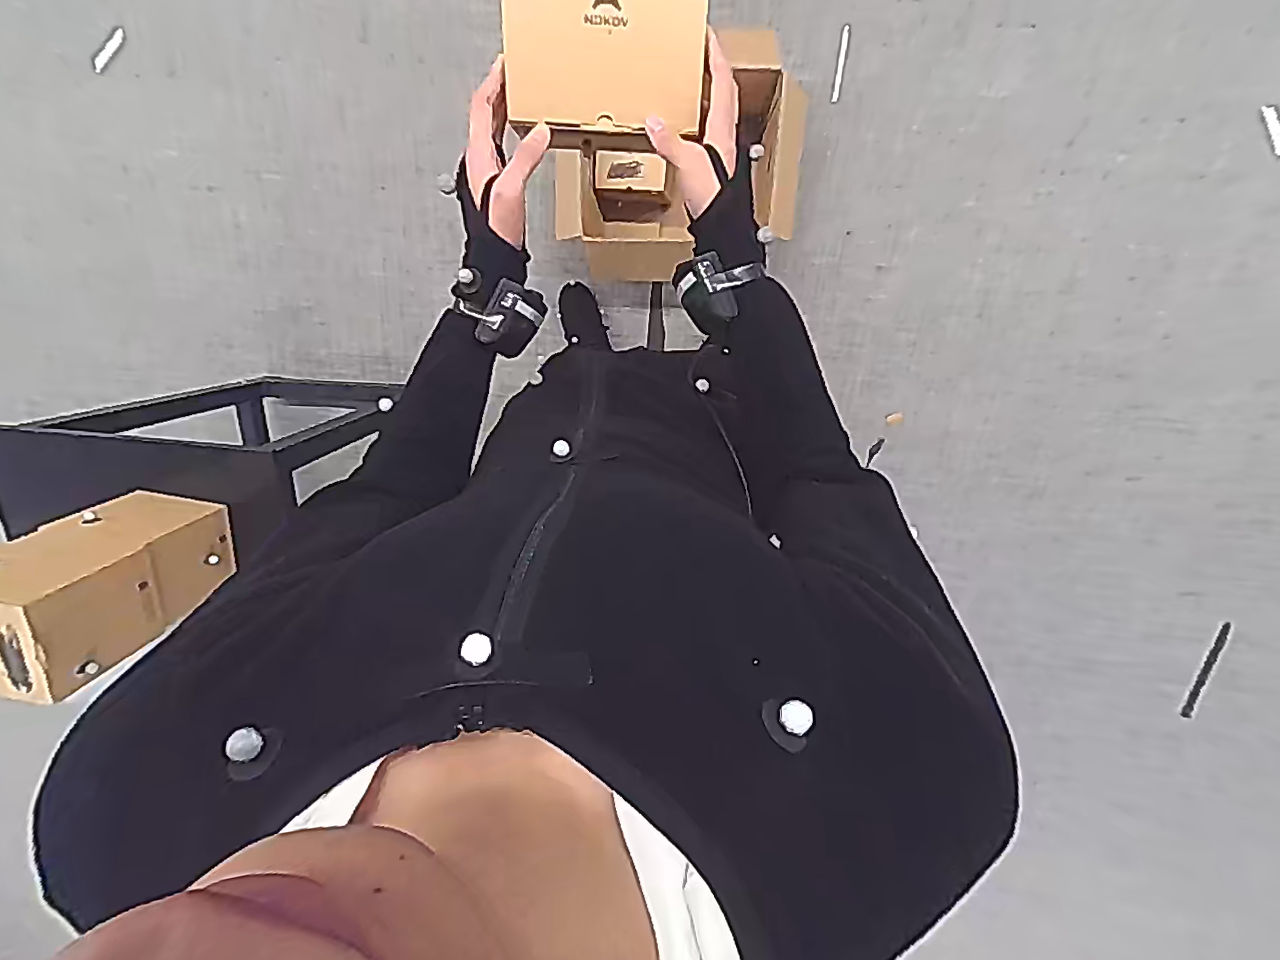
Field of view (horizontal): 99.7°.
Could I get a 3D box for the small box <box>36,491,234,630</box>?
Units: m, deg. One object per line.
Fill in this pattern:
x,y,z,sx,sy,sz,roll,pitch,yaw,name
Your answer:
-0.862,0.130,0.942,0.179,0.176,0.168,10,111,2,small box

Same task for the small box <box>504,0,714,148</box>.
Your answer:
-0.033,-0.412,0.484,0.168,0.176,0.179,-1,117,-7,small box
